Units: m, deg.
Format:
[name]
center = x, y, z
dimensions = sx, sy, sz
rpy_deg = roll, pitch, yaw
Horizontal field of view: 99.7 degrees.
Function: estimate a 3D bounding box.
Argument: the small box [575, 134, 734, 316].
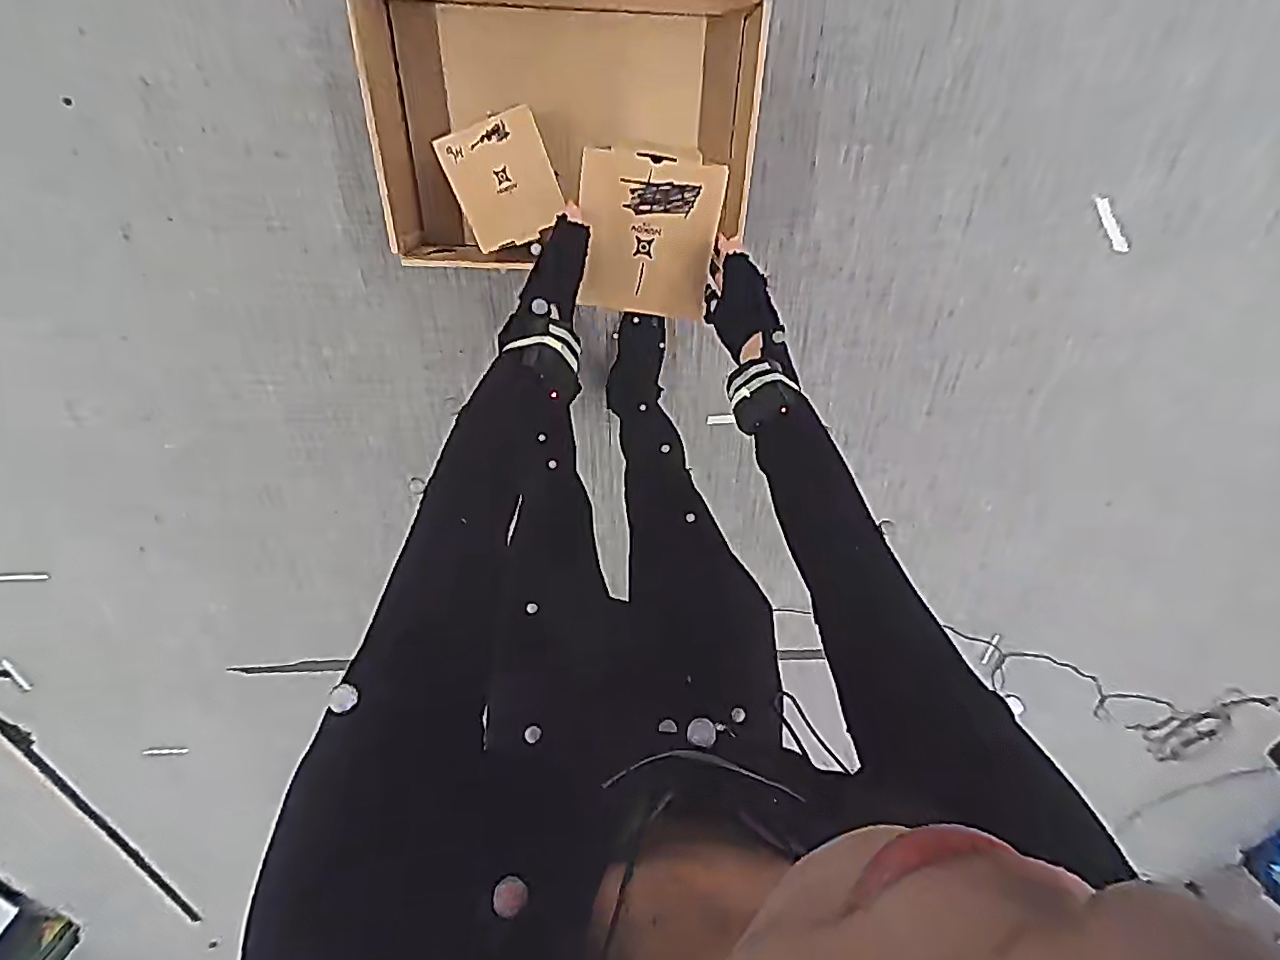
[small box]
center = 0.012, -0.334, 0.703
dimensions = 0.168, 0.176, 0.179
rpy_deg = 8, 122, -4
